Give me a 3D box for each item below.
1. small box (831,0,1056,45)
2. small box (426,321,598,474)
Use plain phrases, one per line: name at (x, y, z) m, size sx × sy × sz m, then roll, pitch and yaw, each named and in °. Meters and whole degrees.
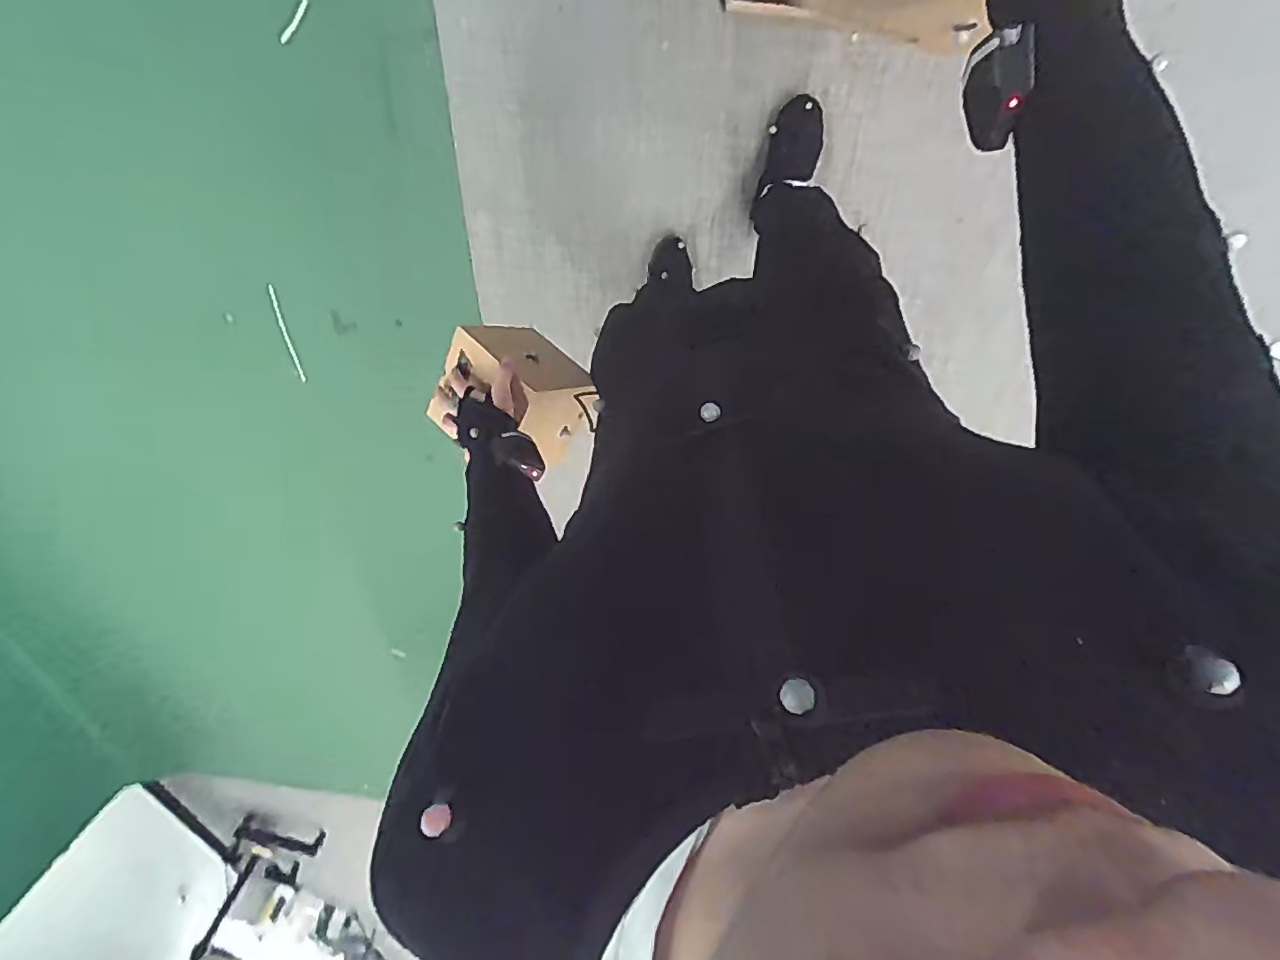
small box at (0.292, -0.540, 0.495) m, size 0.168 × 0.176 × 0.179 m, roll 4°, pitch 115°, yaw -15°
small box at (-0.203, -0.137, 0.874) m, size 0.179 × 0.176 × 0.168 m, roll 40°, pitch 120°, yaw 16°
